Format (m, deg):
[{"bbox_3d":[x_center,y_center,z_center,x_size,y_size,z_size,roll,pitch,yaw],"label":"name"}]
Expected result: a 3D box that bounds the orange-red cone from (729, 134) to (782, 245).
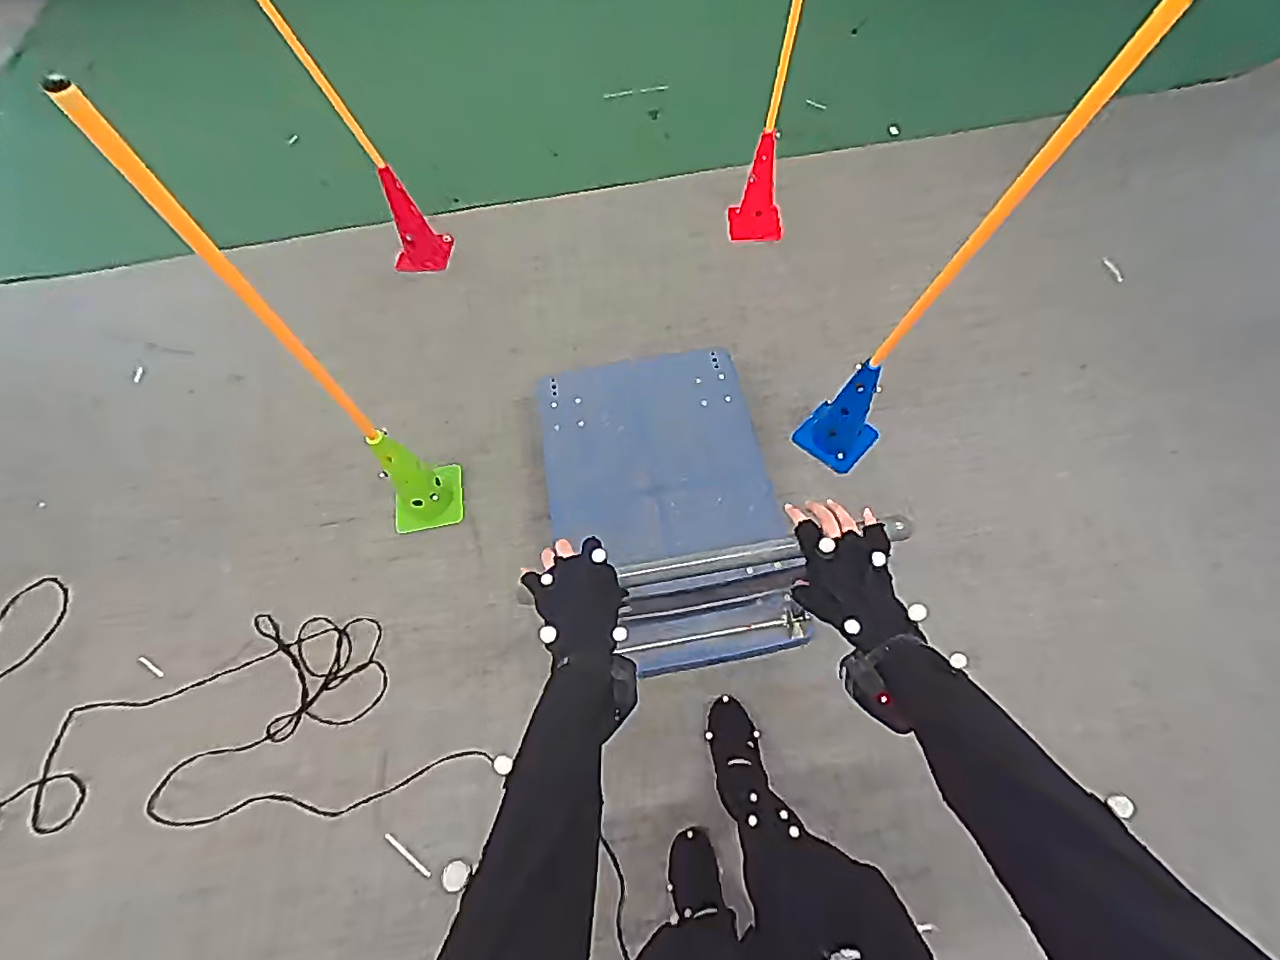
[{"bbox_3d":[0.439,-1.062,1.957,0.198,0.360,0.199,0,64,4],"label":"orange-red cone"}]
